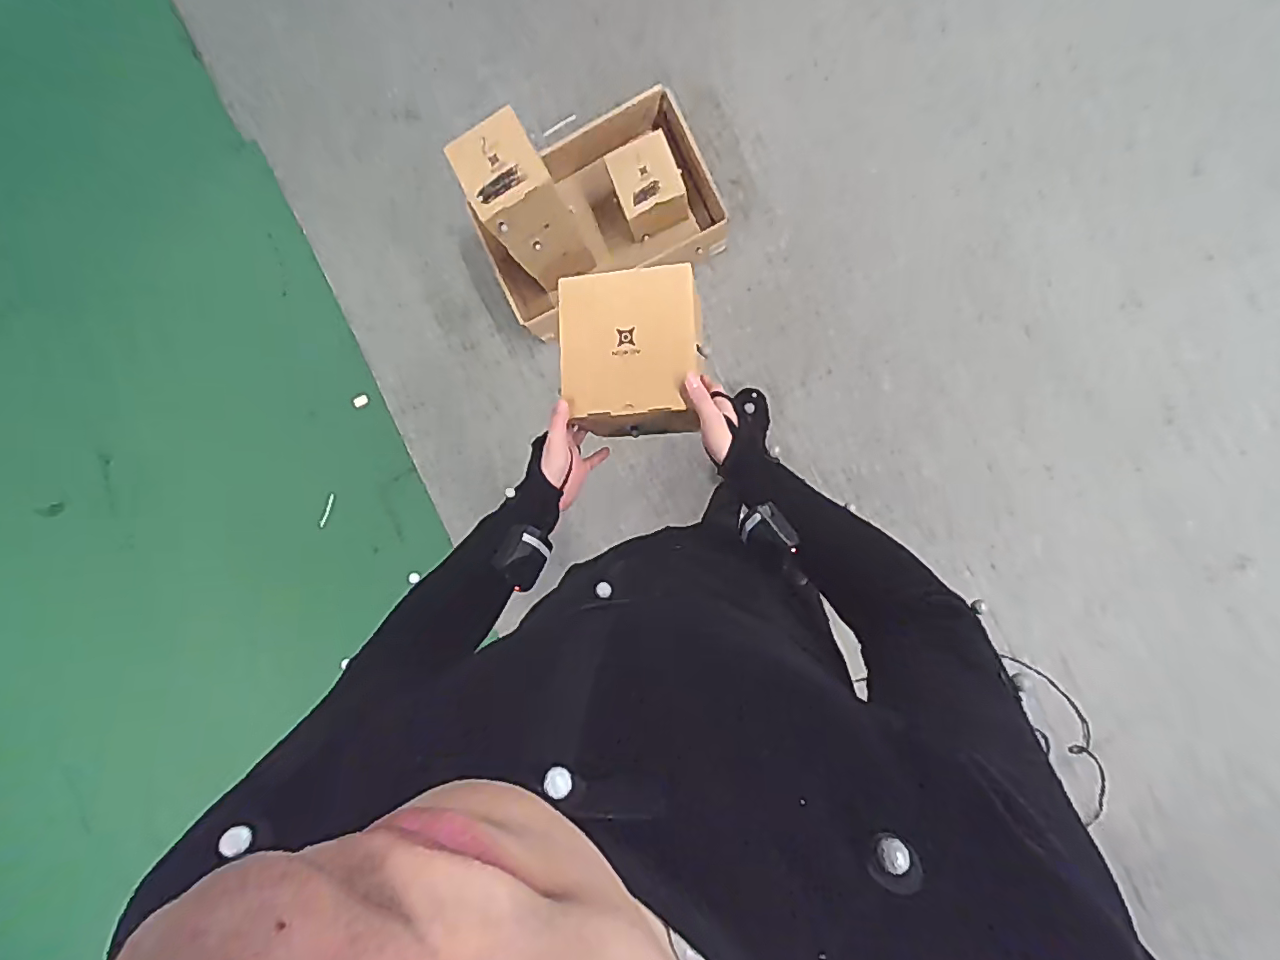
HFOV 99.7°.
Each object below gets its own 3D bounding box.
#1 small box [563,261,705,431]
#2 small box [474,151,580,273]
[{"bbox_3d":[0.000,-0.167,0.724,0.168,0.176,0.179,-3,88,9],"label":"small box"},{"bbox_3d":[-0.269,-0.644,1.323,0.168,0.176,0.179,-28,89,8],"label":"small box"}]
